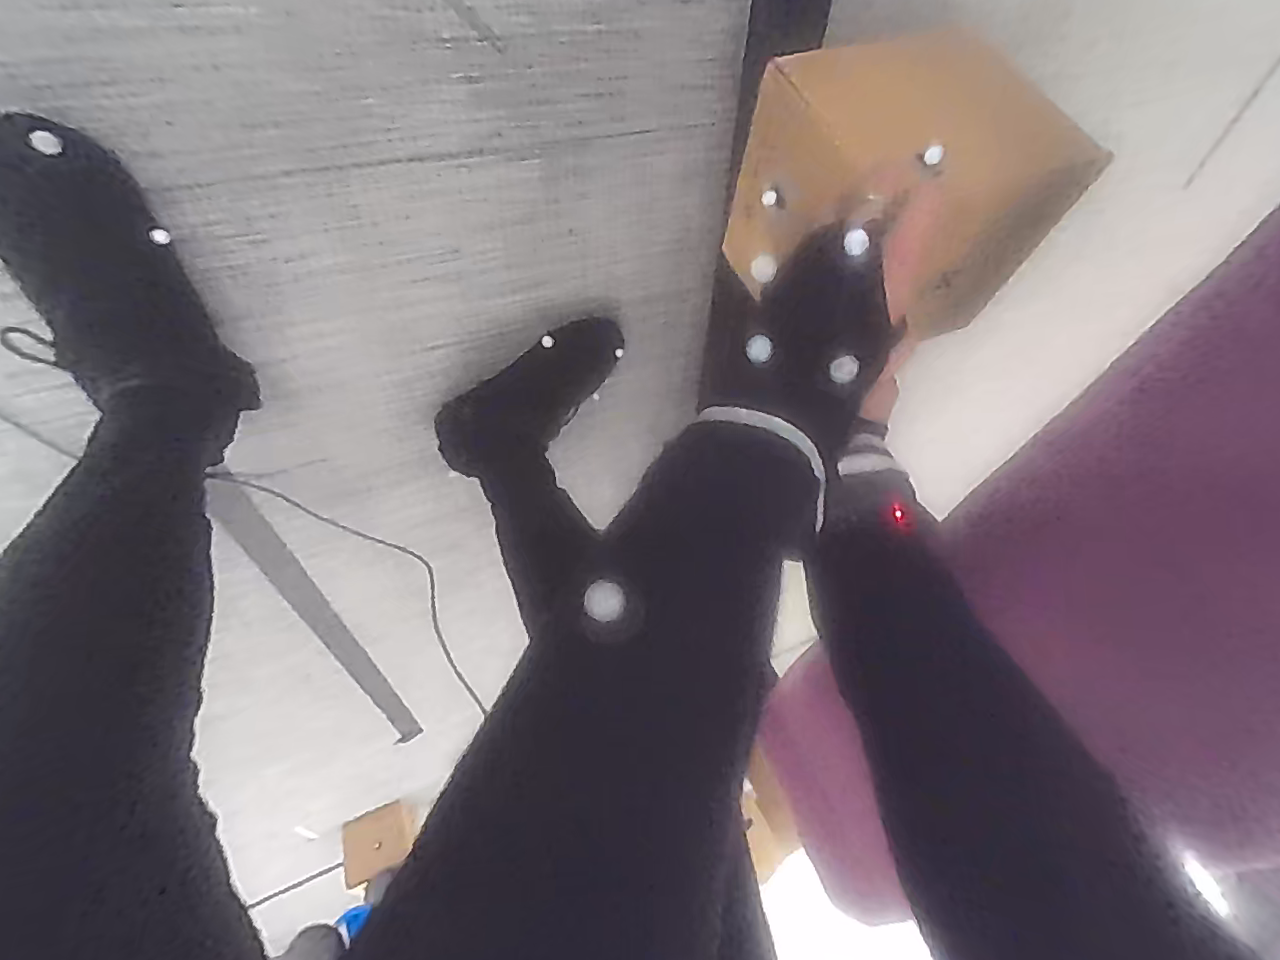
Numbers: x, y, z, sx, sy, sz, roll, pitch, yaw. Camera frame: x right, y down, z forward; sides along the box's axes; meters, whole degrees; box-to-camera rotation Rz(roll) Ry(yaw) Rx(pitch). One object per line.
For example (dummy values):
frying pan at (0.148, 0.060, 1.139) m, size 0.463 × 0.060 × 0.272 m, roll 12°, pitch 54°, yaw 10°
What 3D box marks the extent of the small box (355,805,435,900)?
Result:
small box at (-0.741, 1.121, 1.631) m, size 0.179 × 0.176 × 0.168 m, roll -20°, pitch 141°, yaw -15°
